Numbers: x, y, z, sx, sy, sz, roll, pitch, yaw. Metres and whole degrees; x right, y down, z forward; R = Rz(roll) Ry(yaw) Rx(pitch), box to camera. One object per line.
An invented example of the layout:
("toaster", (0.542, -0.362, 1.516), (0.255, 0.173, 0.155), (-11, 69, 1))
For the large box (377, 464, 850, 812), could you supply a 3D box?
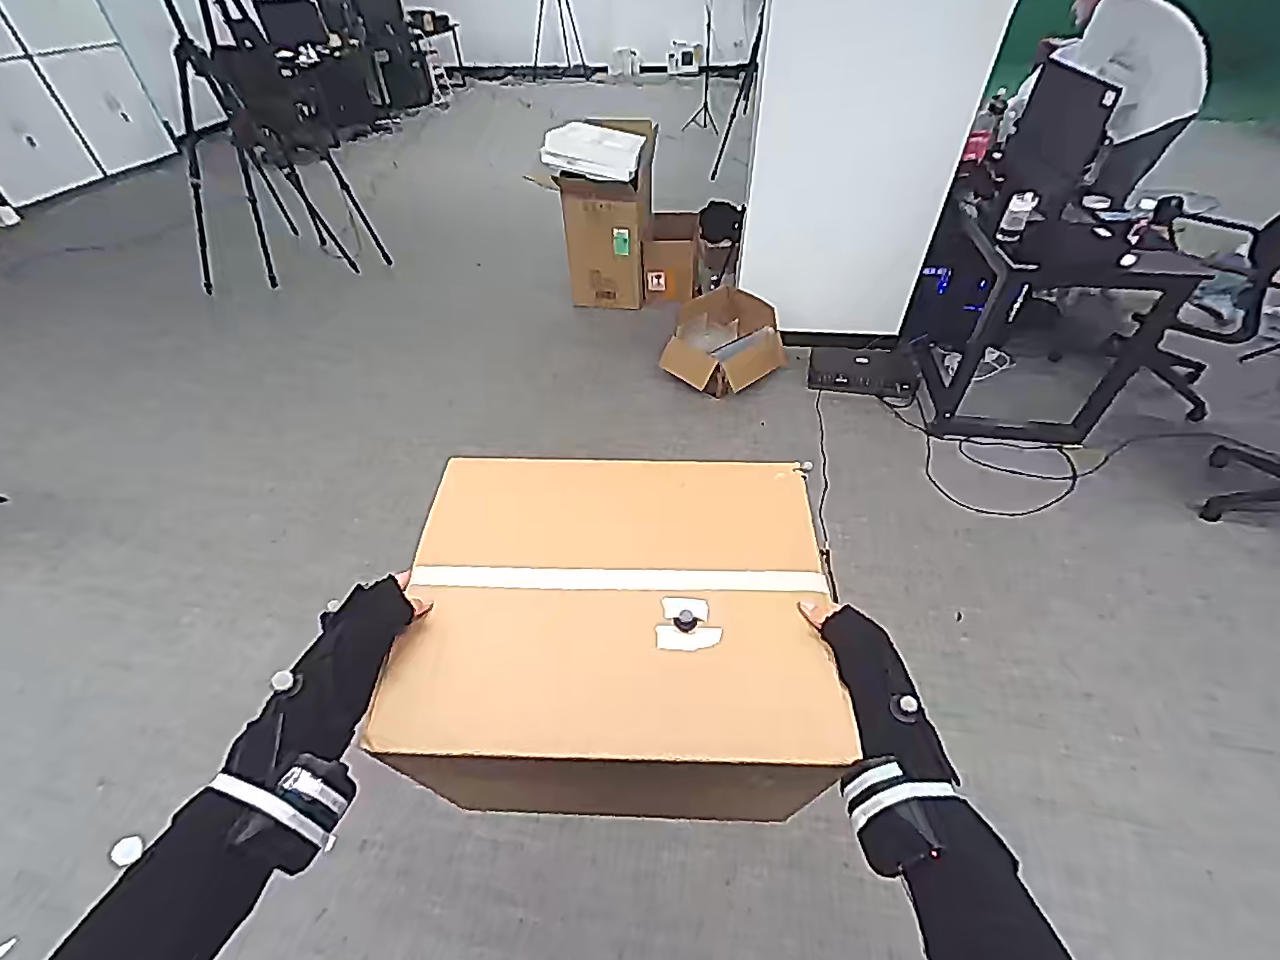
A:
("large box", (-0.020, 0.196, 0.654), (0.408, 0.320, 0.320), (1, 51, 2))
